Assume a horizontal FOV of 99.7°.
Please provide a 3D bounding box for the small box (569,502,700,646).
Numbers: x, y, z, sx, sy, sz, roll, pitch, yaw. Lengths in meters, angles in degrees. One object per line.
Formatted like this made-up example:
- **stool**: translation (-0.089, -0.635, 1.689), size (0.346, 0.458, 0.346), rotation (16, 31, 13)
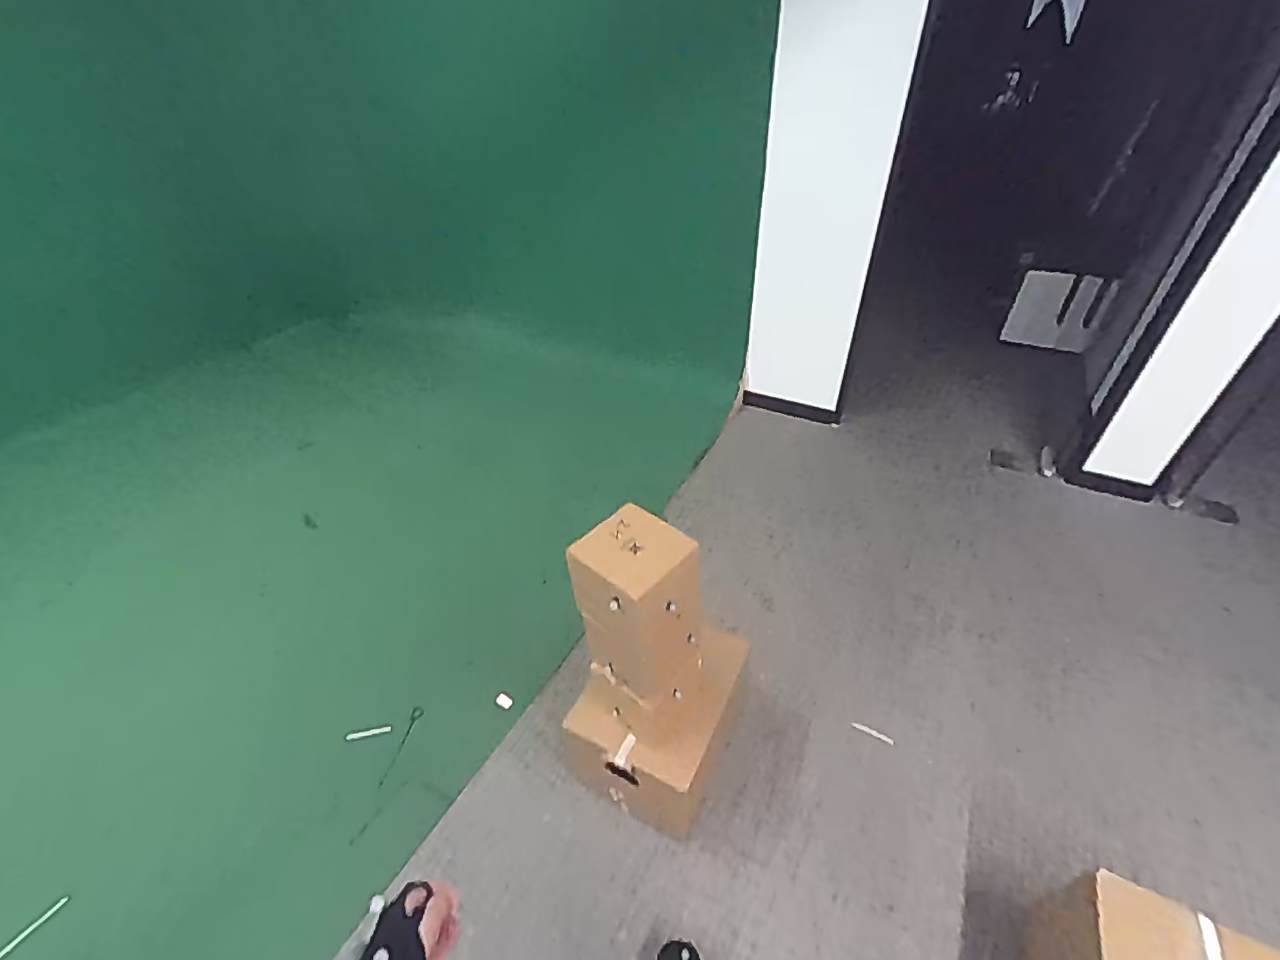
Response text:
- **small box**: translation (-0.006, 0.178, 1.000), size (0.179, 0.176, 0.168), rotation (30, 50, 34)

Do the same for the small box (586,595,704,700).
- **small box**: translation (0.011, 0.304, 1.104), size (0.168, 0.176, 0.179), rotation (29, 50, 33)

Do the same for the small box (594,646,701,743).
- **small box**: translation (0.017, 0.436, 1.200), size (0.168, 0.176, 0.179), rotation (26, 48, 31)

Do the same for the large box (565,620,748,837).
- **large box**: translation (0.057, 0.593, 1.388), size (0.320, 0.320, 0.408), rotation (18, 43, 22)
